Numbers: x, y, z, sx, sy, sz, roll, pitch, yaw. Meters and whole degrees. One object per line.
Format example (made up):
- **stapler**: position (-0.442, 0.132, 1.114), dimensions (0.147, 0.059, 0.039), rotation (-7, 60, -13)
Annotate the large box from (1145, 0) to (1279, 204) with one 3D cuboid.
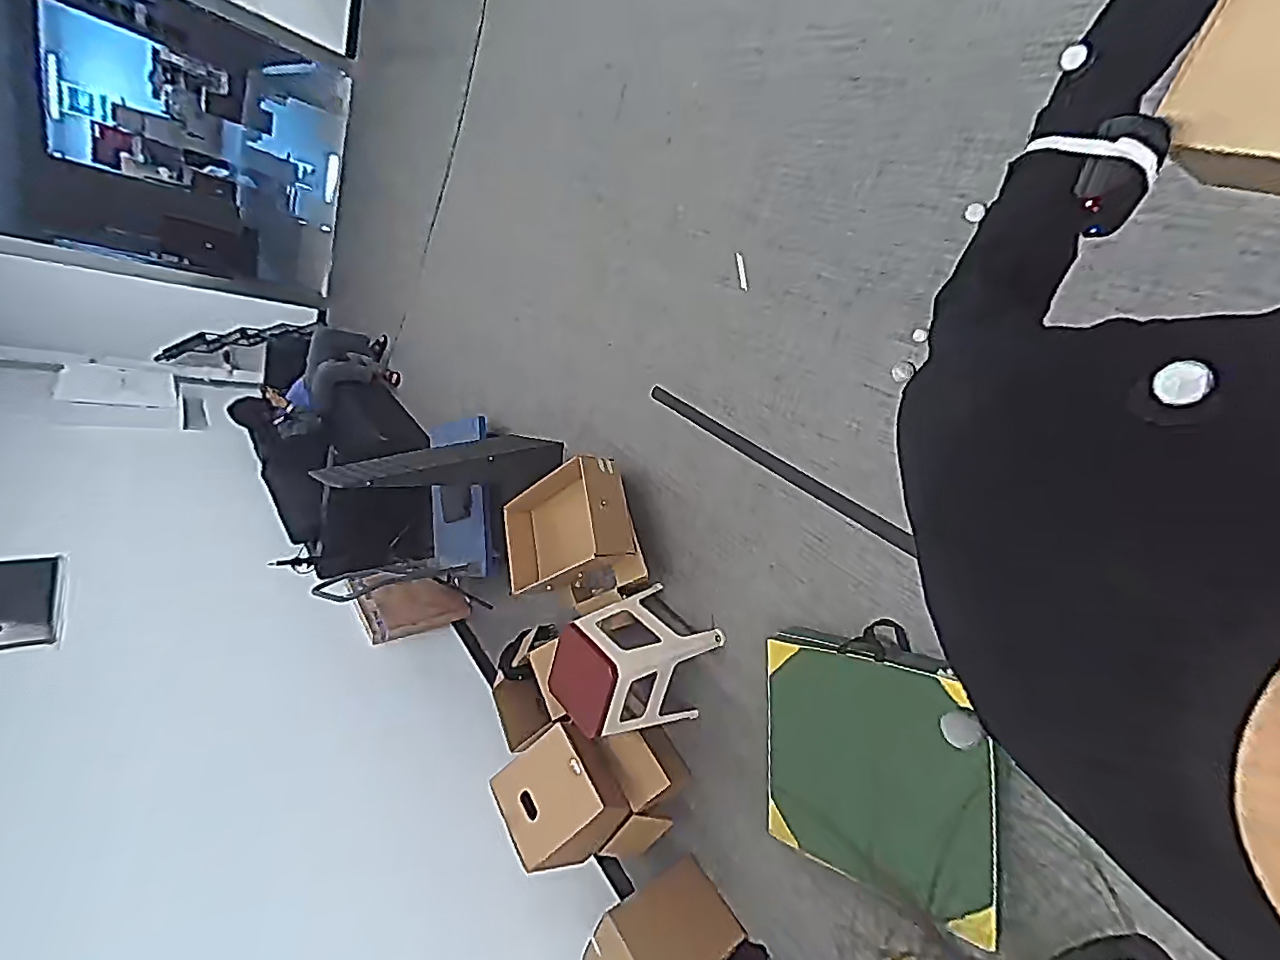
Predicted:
- **large box**: position (0.640, -0.321, 0.311), dimensions (0.408, 0.320, 0.320), rotation (36, 130, 36)
